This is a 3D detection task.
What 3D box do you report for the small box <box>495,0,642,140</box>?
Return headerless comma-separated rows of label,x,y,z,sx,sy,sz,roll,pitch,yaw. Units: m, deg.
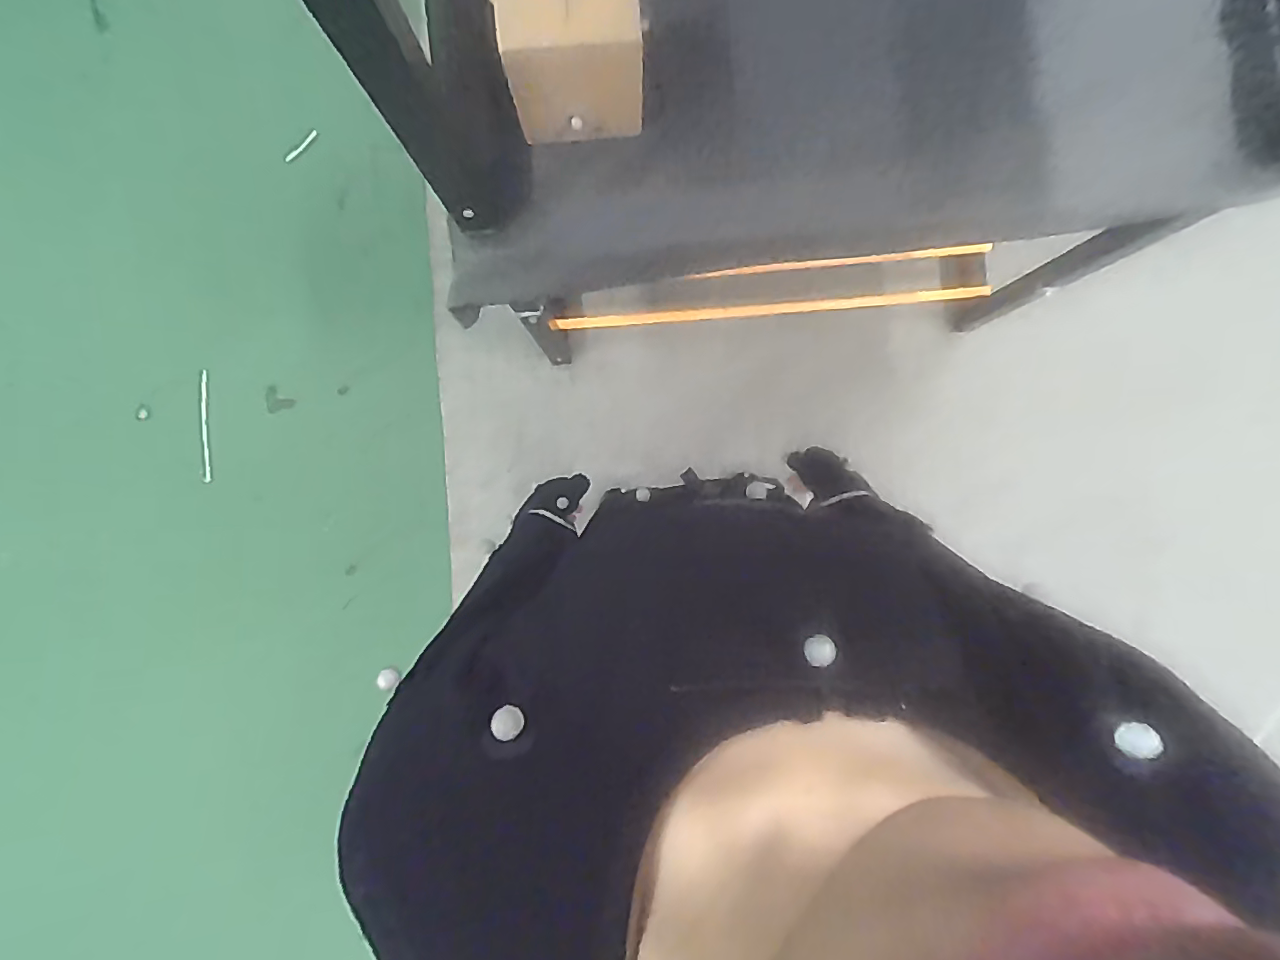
small box,-0.087,-0.578,0.694,0.168,0.176,0.179,-5,89,0
